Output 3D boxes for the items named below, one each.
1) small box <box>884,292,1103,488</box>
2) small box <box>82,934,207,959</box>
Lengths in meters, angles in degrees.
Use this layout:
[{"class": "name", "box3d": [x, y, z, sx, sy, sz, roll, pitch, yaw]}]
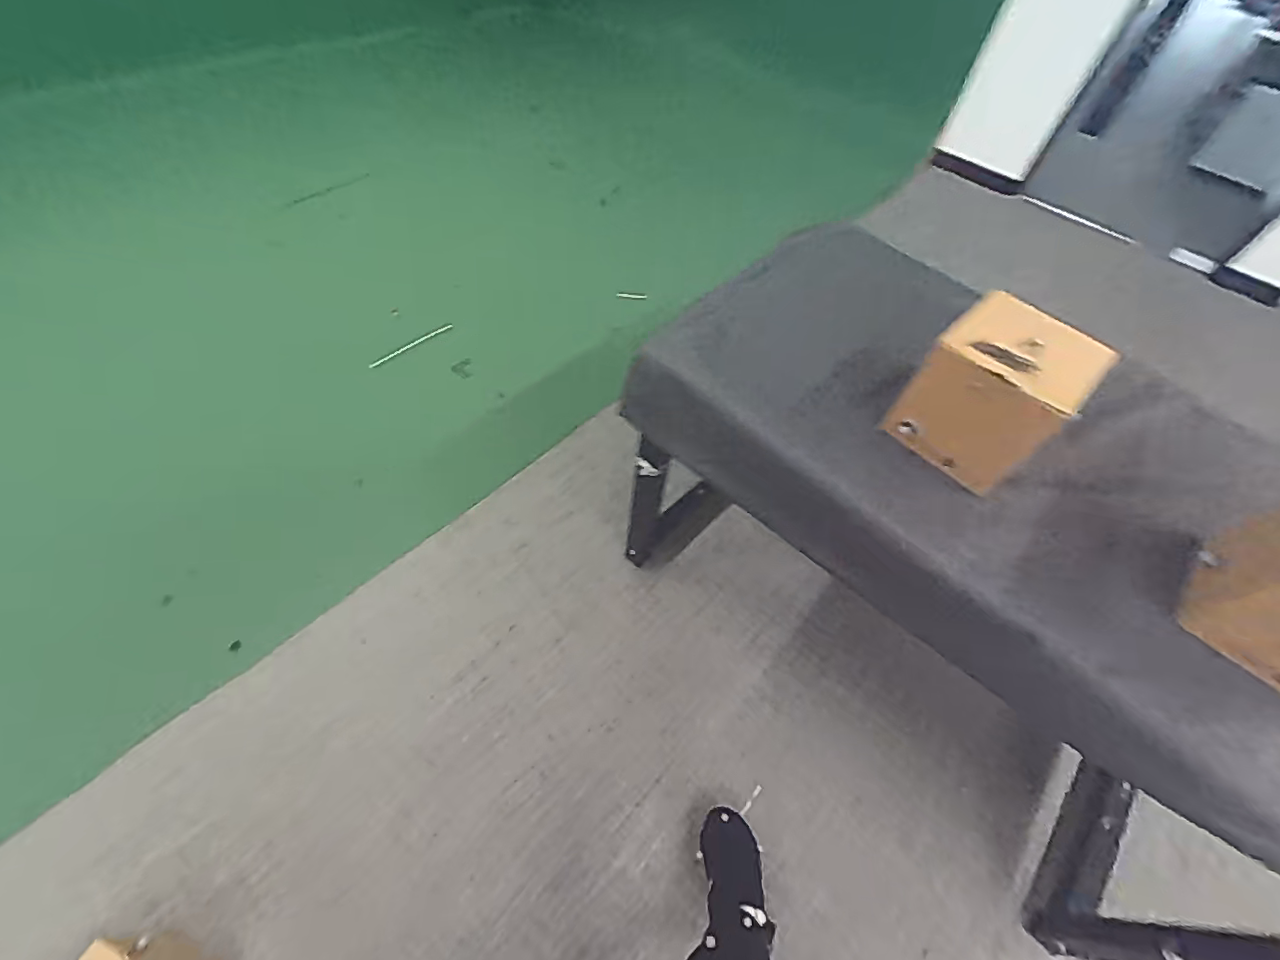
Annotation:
[{"class": "small box", "box3d": [0.471, -0.120, 0.748, 0.179, 0.176, 0.168, -36, 66, -28]}, {"class": "small box", "box3d": [-0.793, 0.841, 0.833, 0.179, 0.176, 0.168, 23, 56, 11]}]
